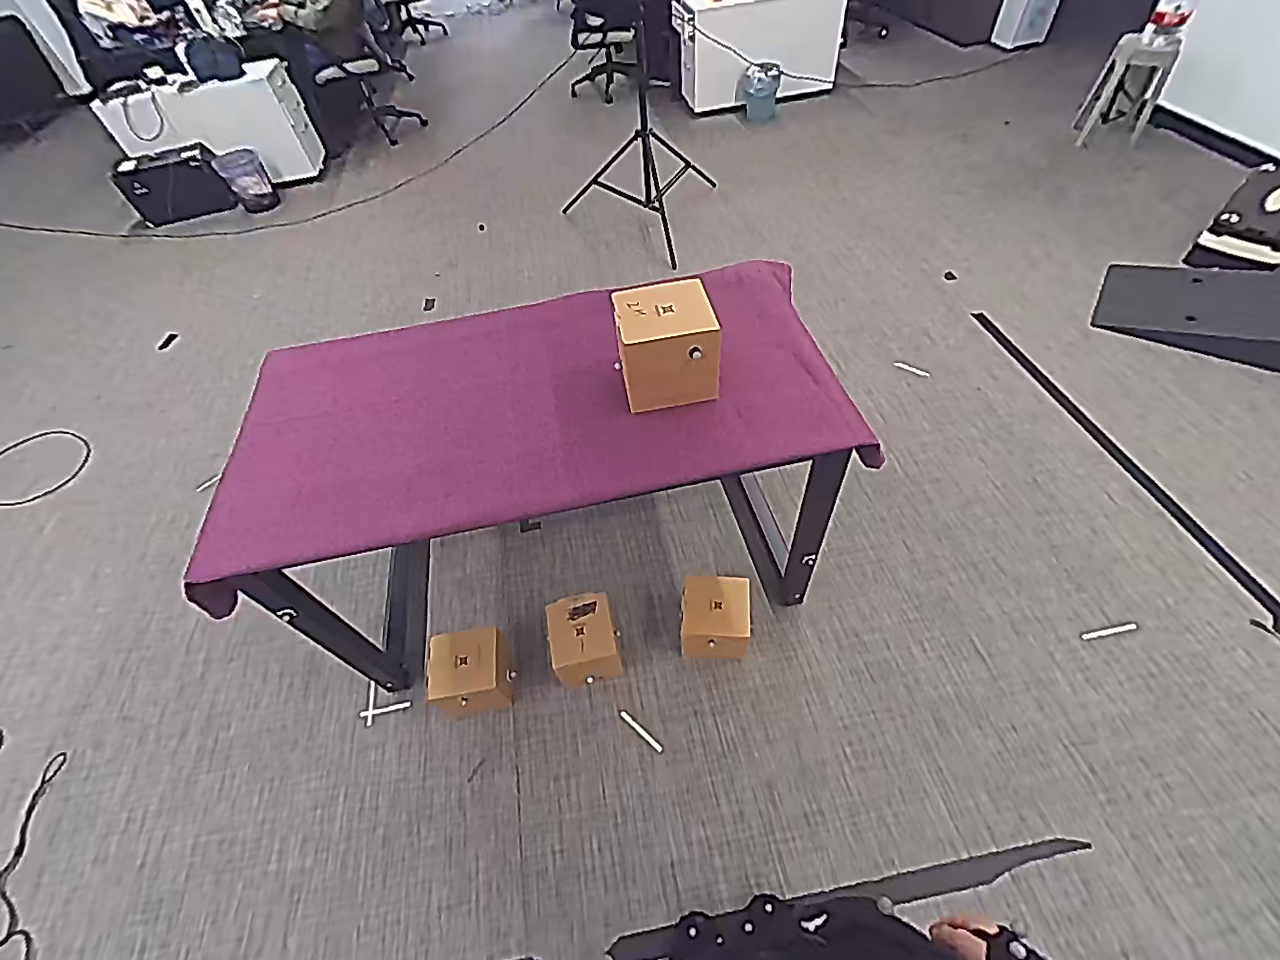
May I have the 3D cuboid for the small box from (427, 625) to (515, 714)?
[{"bbox_3d":[-0.440,0.507,1.434,0.179,0.176,0.168,-9,53,-2],"label":"small box"}]

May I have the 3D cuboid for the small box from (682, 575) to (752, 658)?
[{"bbox_3d":[0.207,0.373,1.466,0.179,0.176,0.168,1,53,9],"label":"small box"}]

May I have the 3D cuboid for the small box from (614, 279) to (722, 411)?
[{"bbox_3d":[0.053,-0.256,1.042,0.179,0.176,0.168,-10,51,-1],"label":"small box"}]

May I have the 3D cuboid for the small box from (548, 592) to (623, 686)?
[{"bbox_3d":[-0.145,0.431,1.458,0.168,0.176,0.179,-12,53,-3],"label":"small box"}]
